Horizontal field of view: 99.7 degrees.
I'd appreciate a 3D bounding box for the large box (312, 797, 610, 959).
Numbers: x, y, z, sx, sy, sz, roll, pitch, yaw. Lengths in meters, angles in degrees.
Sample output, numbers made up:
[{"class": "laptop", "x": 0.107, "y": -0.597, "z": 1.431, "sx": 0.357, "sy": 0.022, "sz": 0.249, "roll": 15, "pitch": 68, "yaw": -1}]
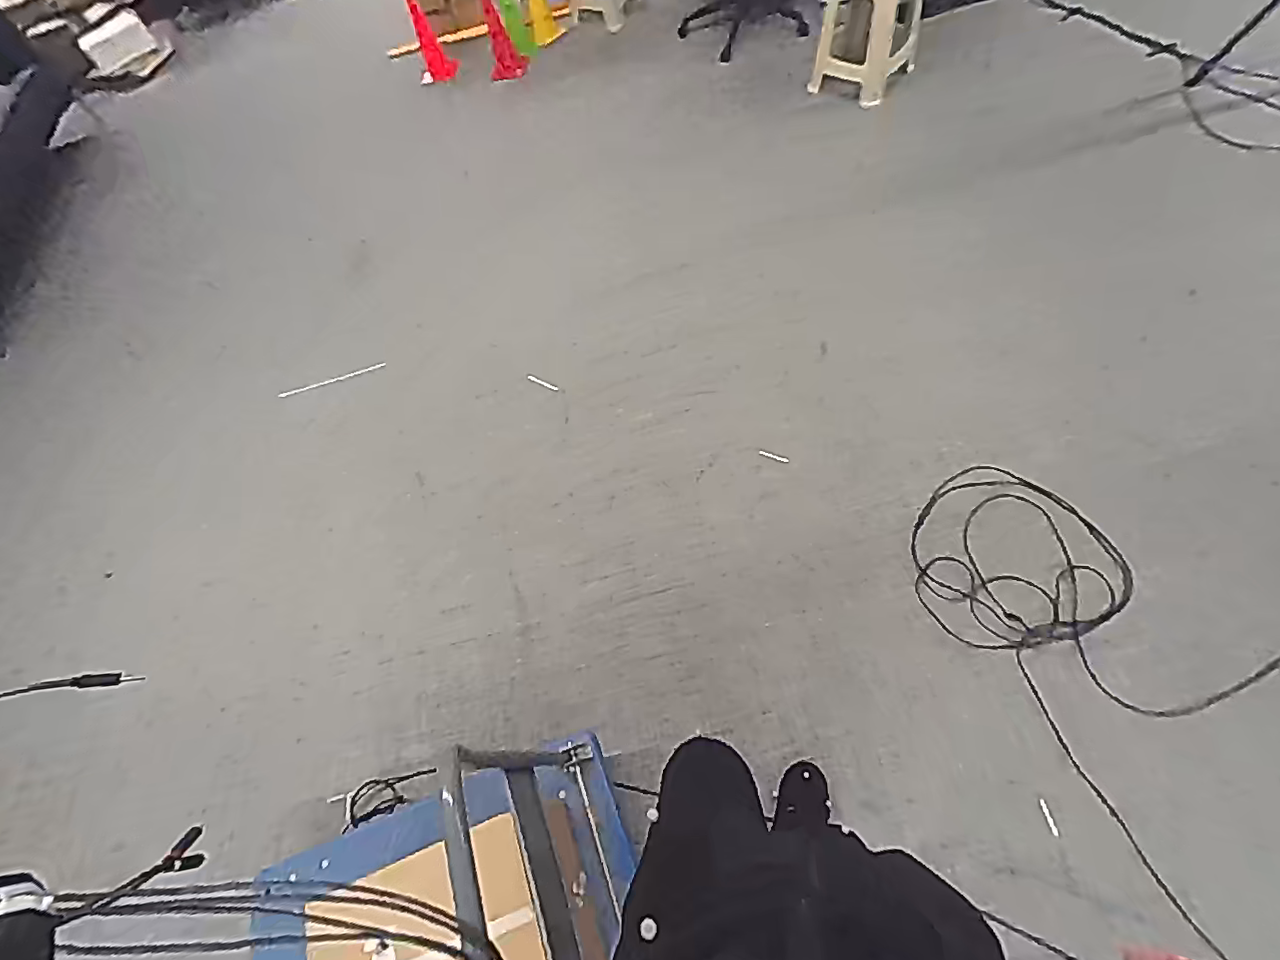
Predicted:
[{"class": "large box", "x": -0.320, "y": 0.861, "z": 1.026, "sx": 0.408, "sy": 0.320, "sz": 0.320, "roll": -25, "pitch": 62, "yaw": -1}]
